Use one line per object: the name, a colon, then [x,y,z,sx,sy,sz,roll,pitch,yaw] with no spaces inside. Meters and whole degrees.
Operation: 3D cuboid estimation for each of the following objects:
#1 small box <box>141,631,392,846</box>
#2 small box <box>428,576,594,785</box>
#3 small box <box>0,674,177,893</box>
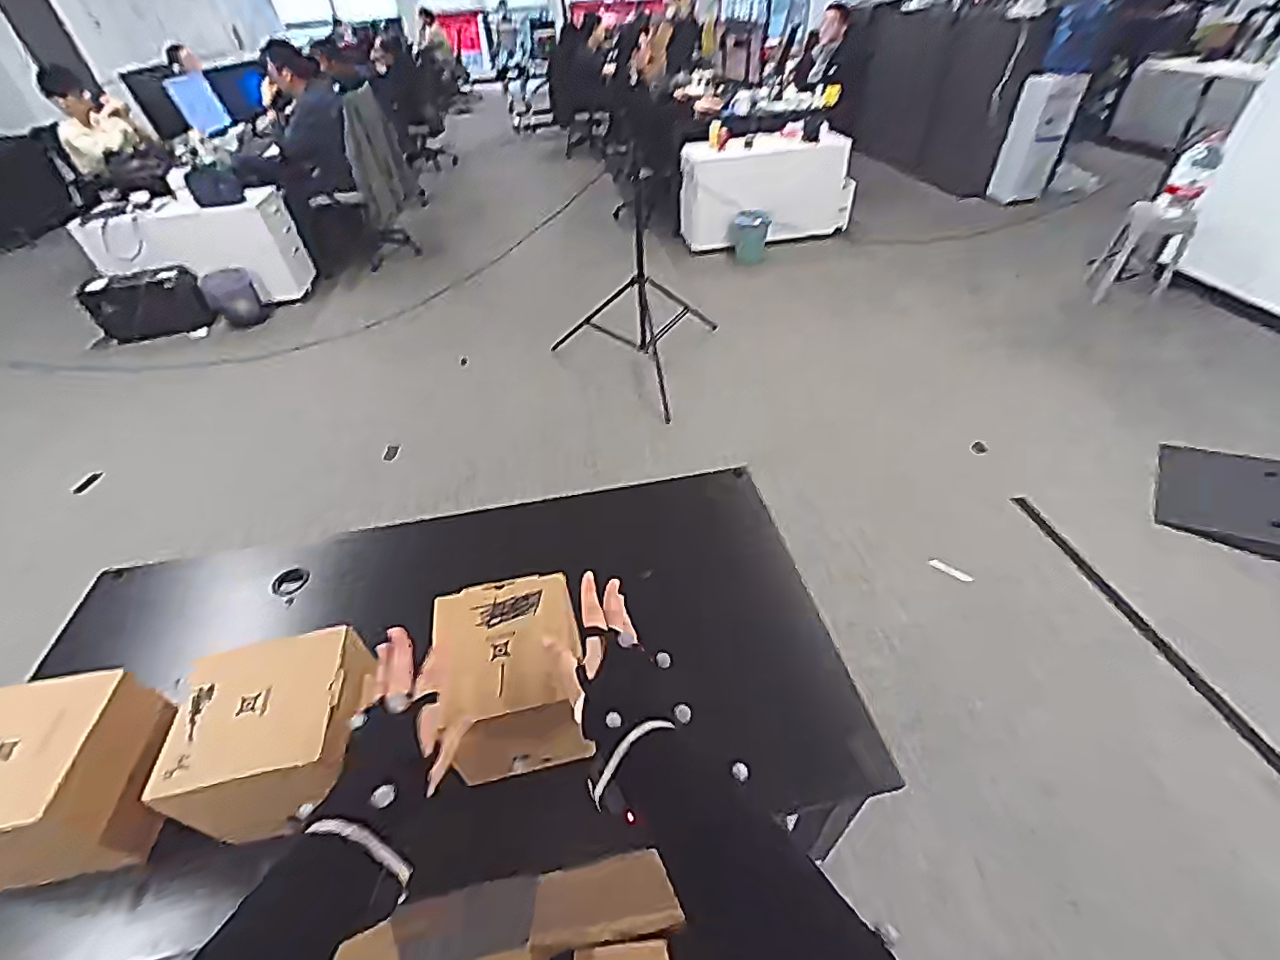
small box: [-0.422,0.312,0.654,0.179,0.176,0.168,-10,43,-7]
small box: [-0.158,0.255,0.694,0.168,0.176,0.179,-11,44,-7]
small box: [-0.680,0.354,0.628,0.179,0.176,0.168,-8,43,-5]
